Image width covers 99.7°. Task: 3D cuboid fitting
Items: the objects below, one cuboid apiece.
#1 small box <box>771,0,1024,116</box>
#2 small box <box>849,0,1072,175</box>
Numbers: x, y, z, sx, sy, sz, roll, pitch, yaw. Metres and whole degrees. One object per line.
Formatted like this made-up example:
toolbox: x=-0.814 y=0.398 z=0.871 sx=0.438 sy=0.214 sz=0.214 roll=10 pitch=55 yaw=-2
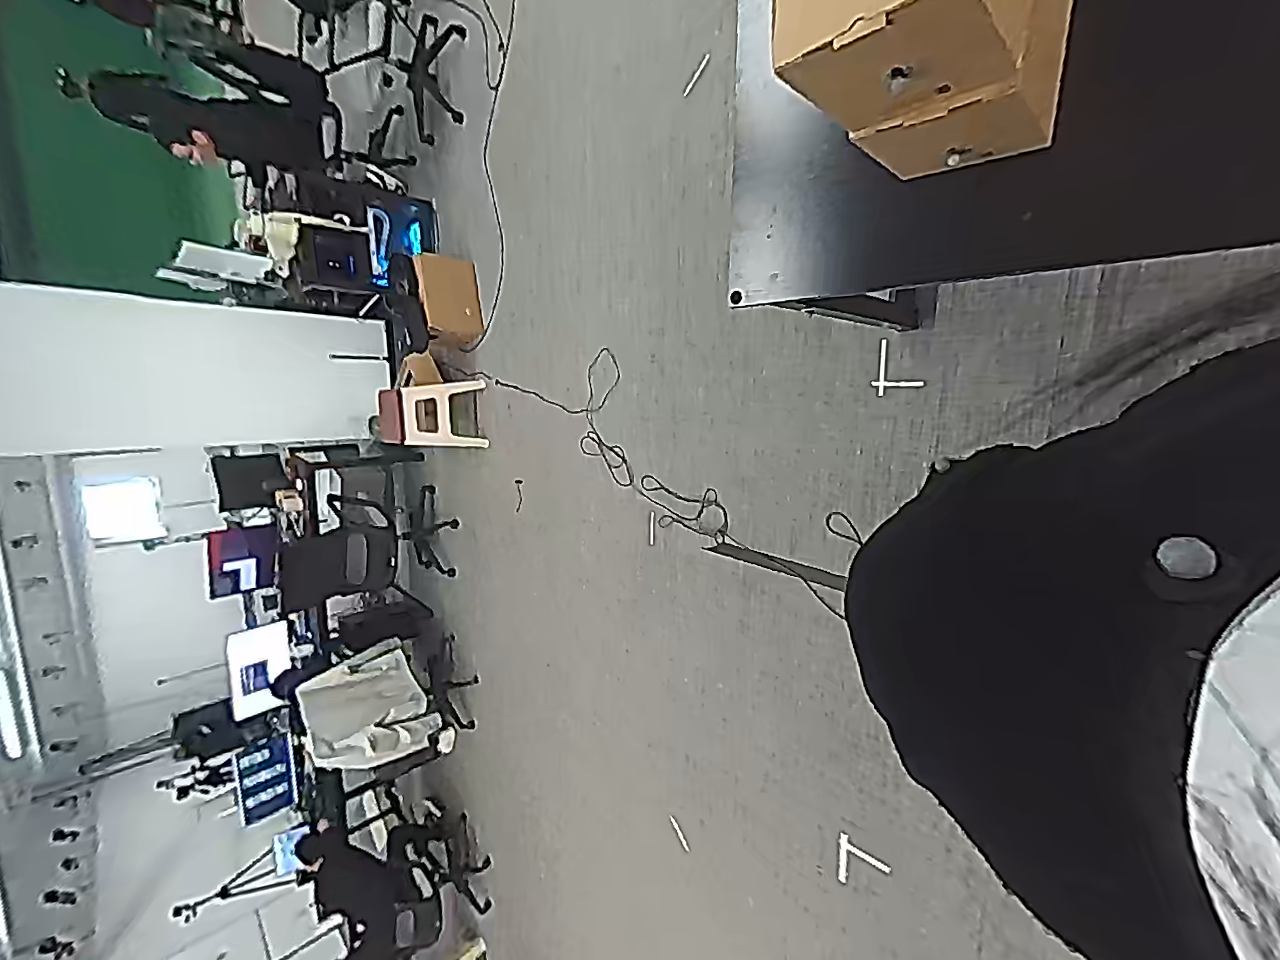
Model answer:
small box: x=0.237 y=-0.465 z=0.491 sx=0.168 sy=0.176 sz=0.179 roll=9 pitch=103 yaw=45
small box: x=0.357 y=-0.473 z=0.603 sx=0.168 sy=0.176 sz=0.179 roll=13 pitch=105 yaw=45
